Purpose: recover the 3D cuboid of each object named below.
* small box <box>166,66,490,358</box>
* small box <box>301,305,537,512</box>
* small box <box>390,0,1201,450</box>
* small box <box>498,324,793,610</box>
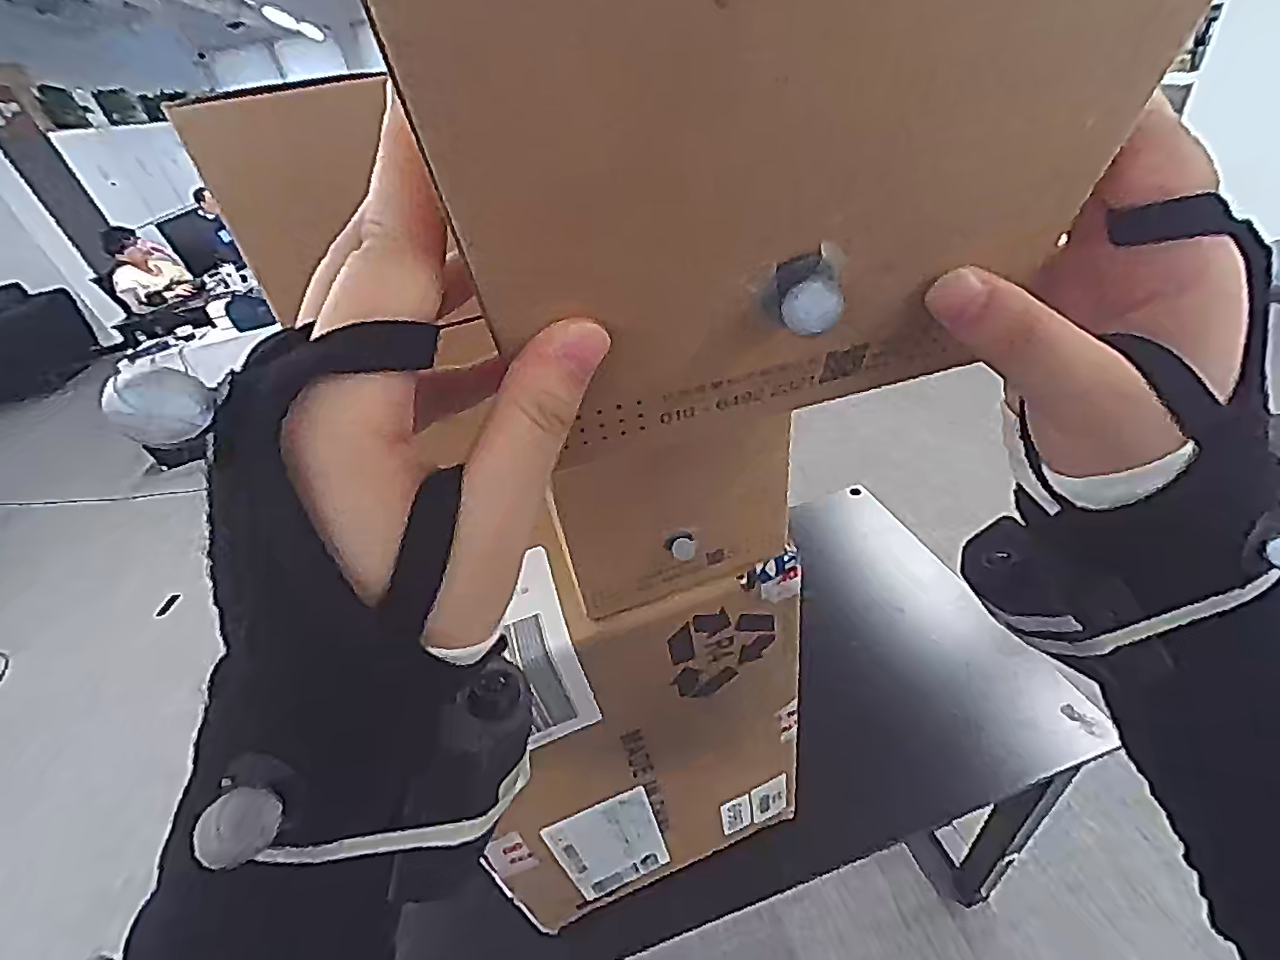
[{"bbox_3d":[-0.221,-0.222,0.450,0.179,0.176,0.168,-20,35,-12],"label":"small box"},{"bbox_3d":[-0.198,-0.093,0.548,0.179,0.176,0.168,-19,36,-10],"label":"small box"},{"bbox_3d":[0.020,-0.138,0.167,0.168,0.176,0.179,-15,58,-5],"label":"small box"},{"bbox_3d":[0.000,-0.033,0.423,0.168,0.176,0.179,-18,39,-10],"label":"small box"}]
